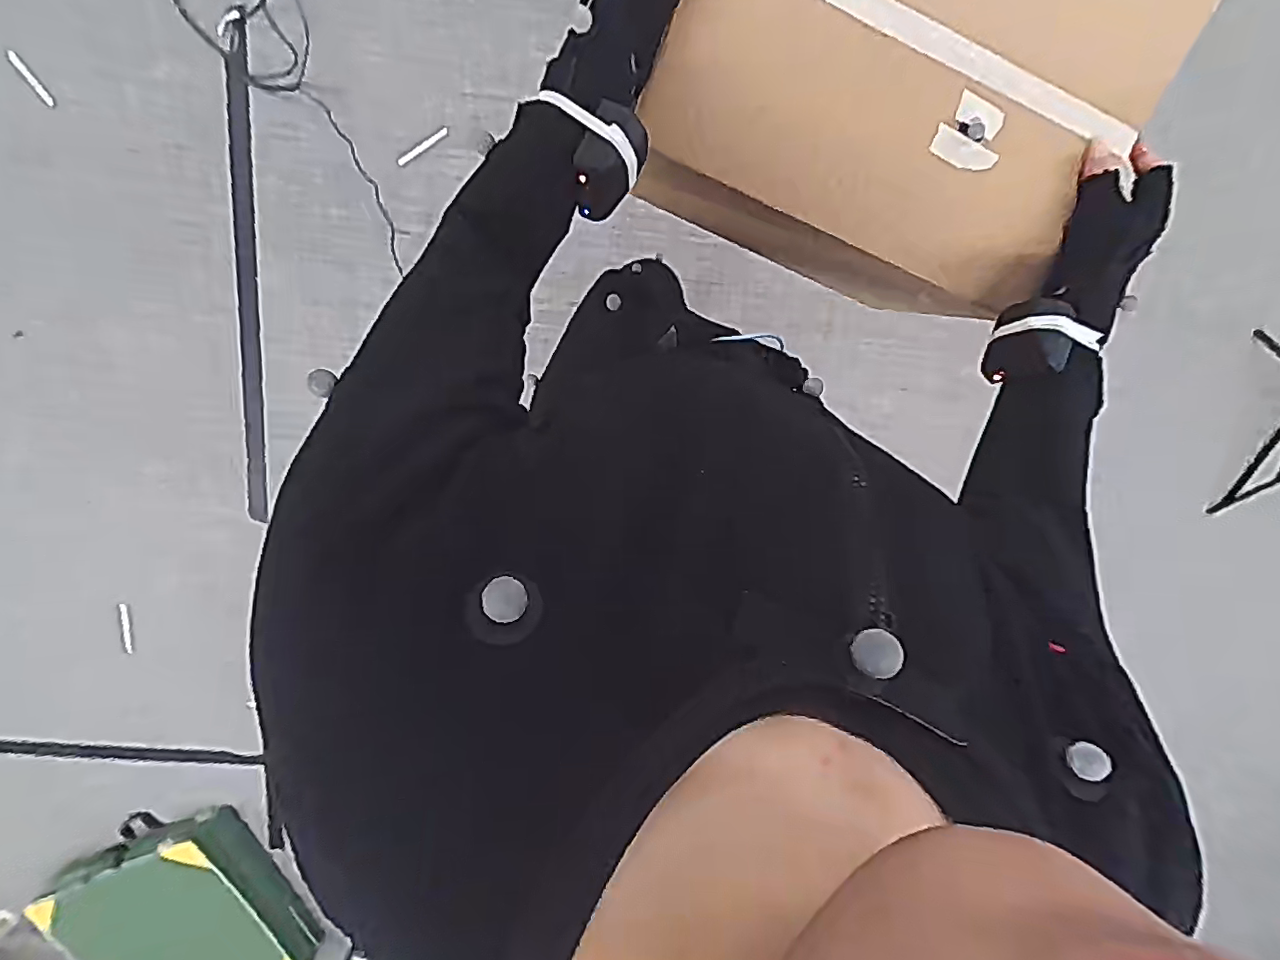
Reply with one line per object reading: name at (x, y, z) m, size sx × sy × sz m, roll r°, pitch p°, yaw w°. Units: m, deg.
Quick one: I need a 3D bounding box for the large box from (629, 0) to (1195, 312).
large box at (0.225, -0.413, 0.591) m, size 0.408 × 0.320 × 0.320 m, roll 20°, pitch 110°, yaw -9°
